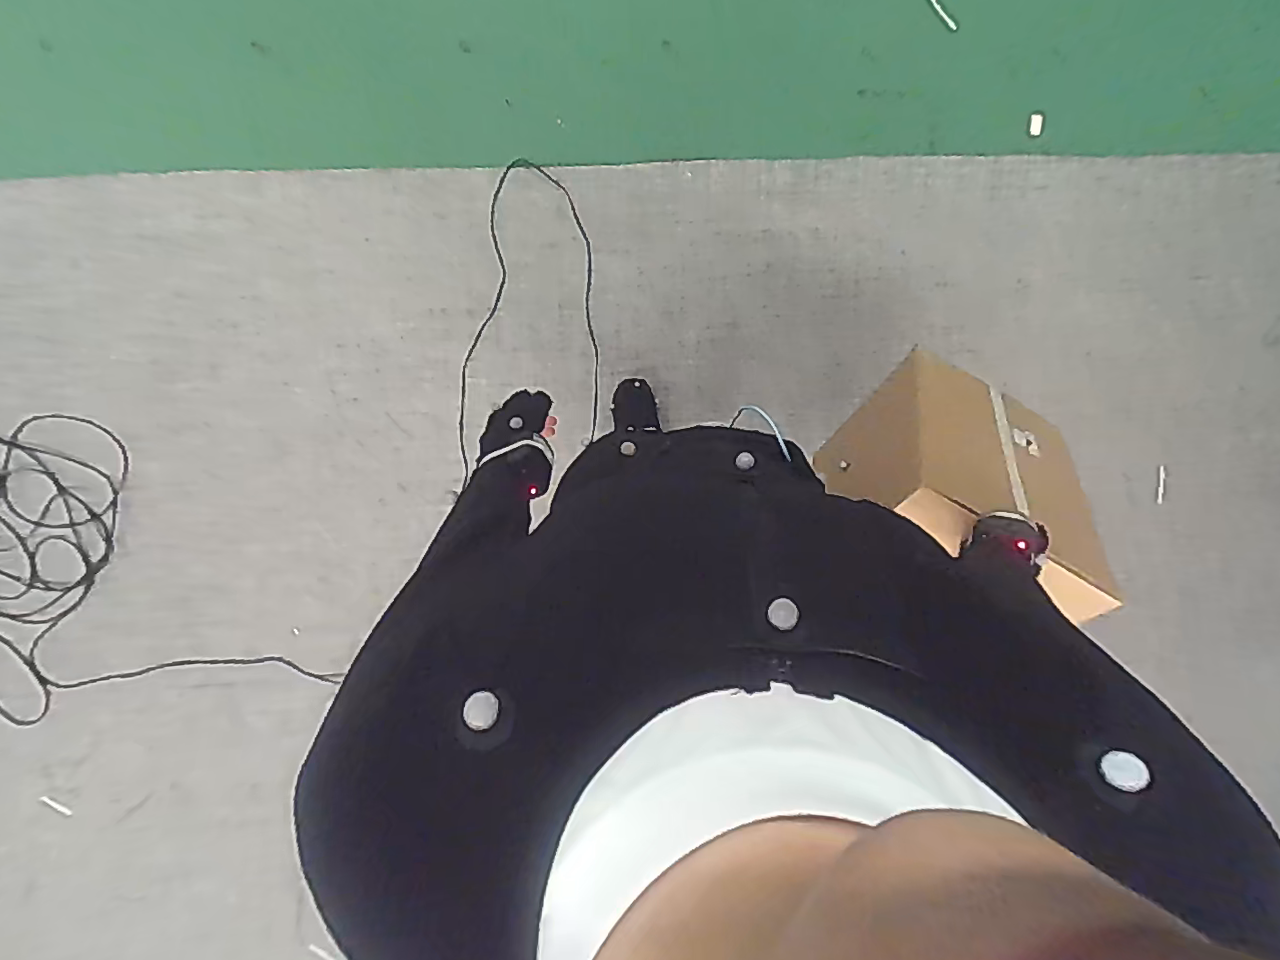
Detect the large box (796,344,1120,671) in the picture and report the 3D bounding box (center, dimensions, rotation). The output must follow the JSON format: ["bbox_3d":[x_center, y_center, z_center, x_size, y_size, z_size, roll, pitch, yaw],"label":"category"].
[{"bbox_3d":[0.504,0.044,0.942,0.320,0.408,0.320,30,135,-3],"label":"large box"}]
